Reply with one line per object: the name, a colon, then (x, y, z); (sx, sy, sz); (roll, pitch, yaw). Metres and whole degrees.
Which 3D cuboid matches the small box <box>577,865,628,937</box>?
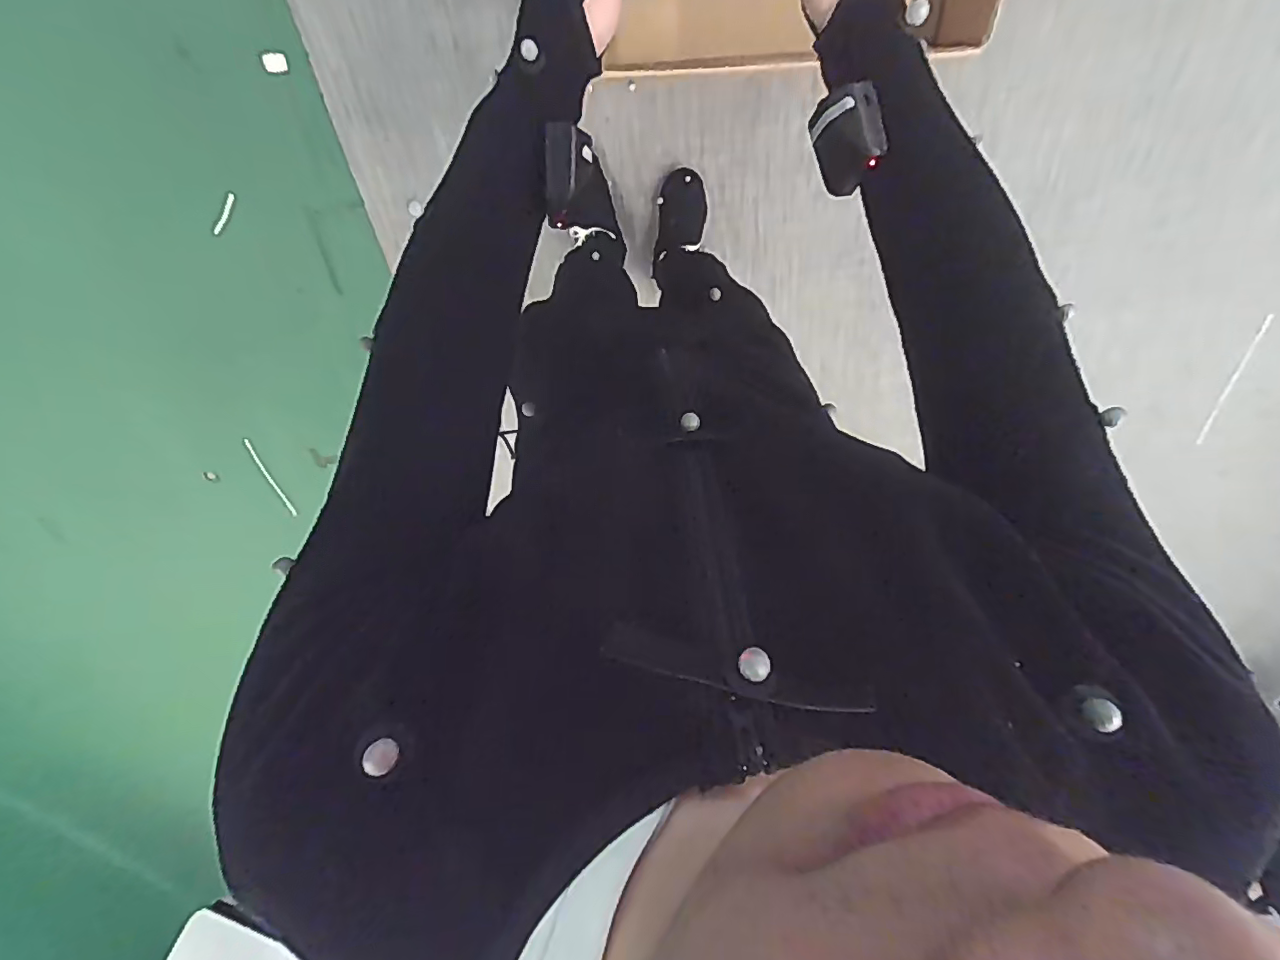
small box: (-0.134, 1.548, 1.992); (0.168, 0.176, 0.179); (-7, 127, 0)
